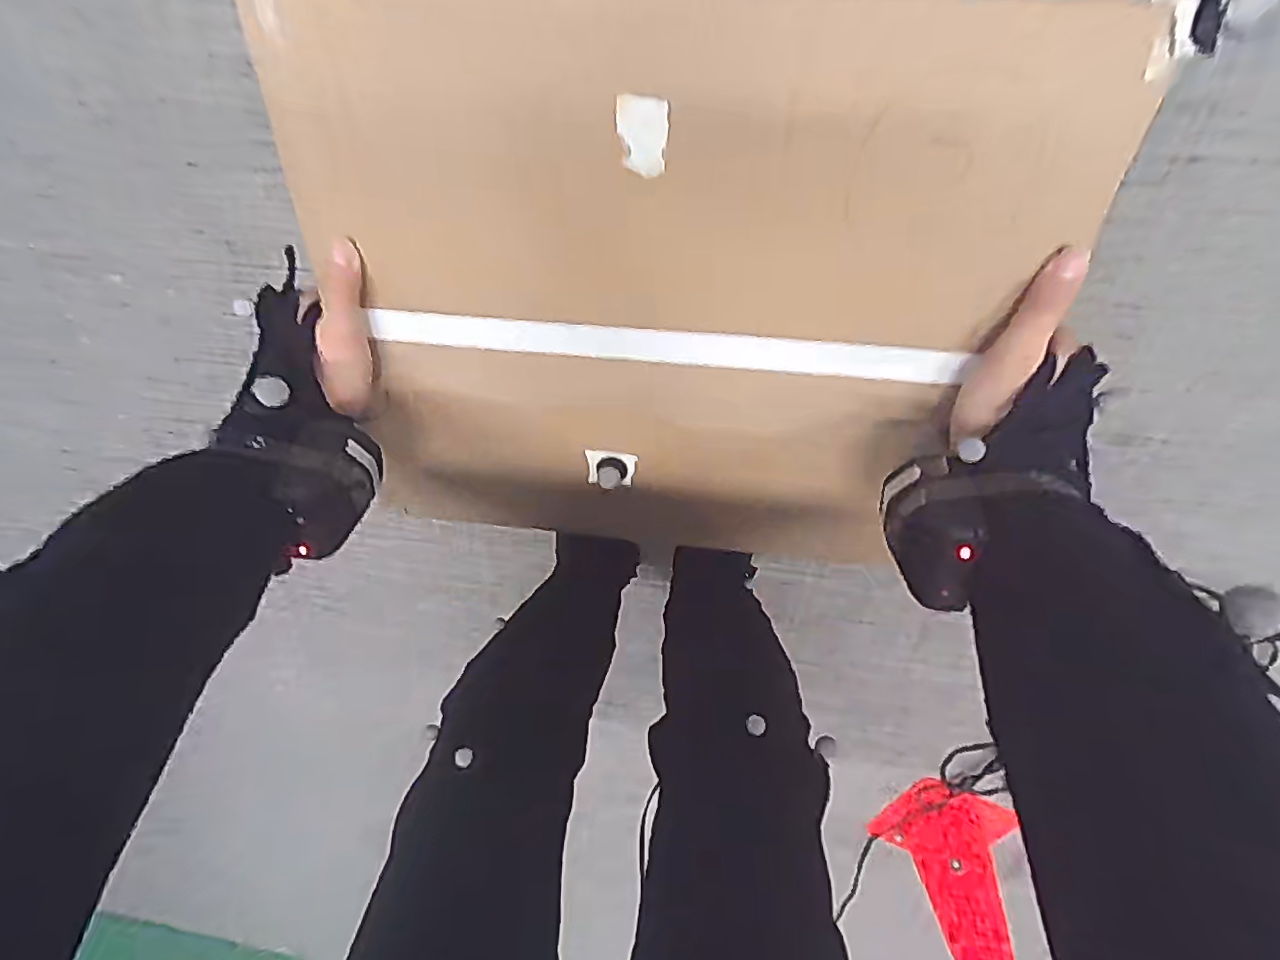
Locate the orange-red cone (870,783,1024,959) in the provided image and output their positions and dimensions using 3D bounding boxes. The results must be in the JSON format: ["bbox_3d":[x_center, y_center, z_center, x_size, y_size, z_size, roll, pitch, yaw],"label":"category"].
[{"bbox_3d":[0.515,0.697,0.814,0.199,0.360,0.198,23,120,-3],"label":"orange-red cone"}]
